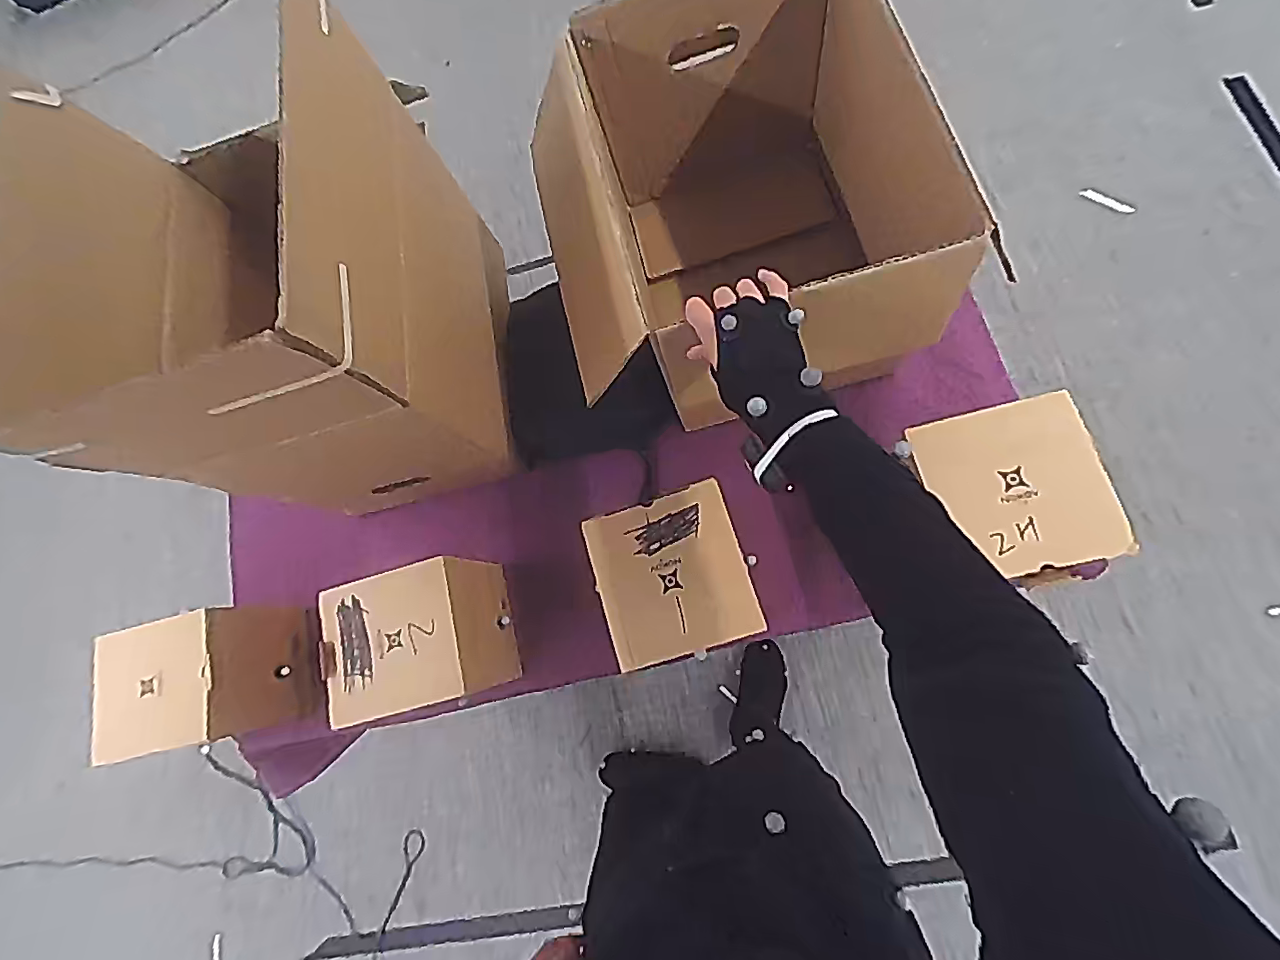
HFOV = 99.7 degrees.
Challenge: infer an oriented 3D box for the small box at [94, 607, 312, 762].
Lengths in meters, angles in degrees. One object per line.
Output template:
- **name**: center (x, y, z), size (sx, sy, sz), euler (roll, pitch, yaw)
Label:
- **small box**: center (-0.609, 0.282, 0.771), size (0.179, 0.176, 0.168), euler (-15, 75, 7)

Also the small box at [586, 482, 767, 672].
- **small box**: center (0.049, 0.122, 0.673), size (0.168, 0.176, 0.179), euler (-18, 76, 7)

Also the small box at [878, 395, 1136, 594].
- **small box**: center (0.393, 0.029, 0.622), size (0.168, 0.176, 0.179), euler (-14, 75, 9)
